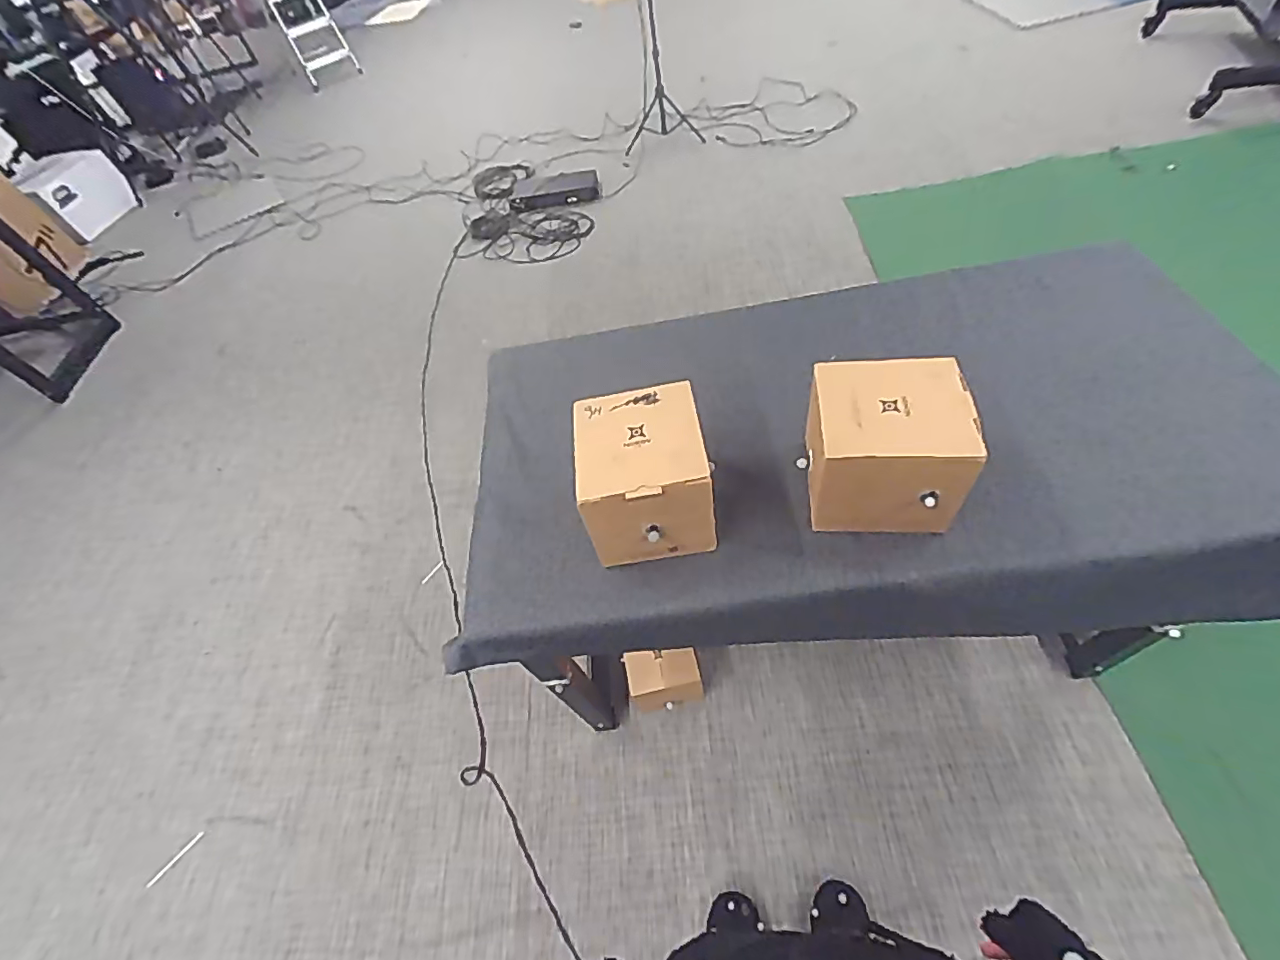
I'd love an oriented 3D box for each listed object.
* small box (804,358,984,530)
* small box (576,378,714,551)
[{"bbox_3d":[0.323,-0.044,0.730,0.179,0.176,0.168,0,54,11],"label":"small box"},{"bbox_3d":[0.009,-0.013,0.762,0.168,0.176,0.179,-9,54,4],"label":"small box"}]
